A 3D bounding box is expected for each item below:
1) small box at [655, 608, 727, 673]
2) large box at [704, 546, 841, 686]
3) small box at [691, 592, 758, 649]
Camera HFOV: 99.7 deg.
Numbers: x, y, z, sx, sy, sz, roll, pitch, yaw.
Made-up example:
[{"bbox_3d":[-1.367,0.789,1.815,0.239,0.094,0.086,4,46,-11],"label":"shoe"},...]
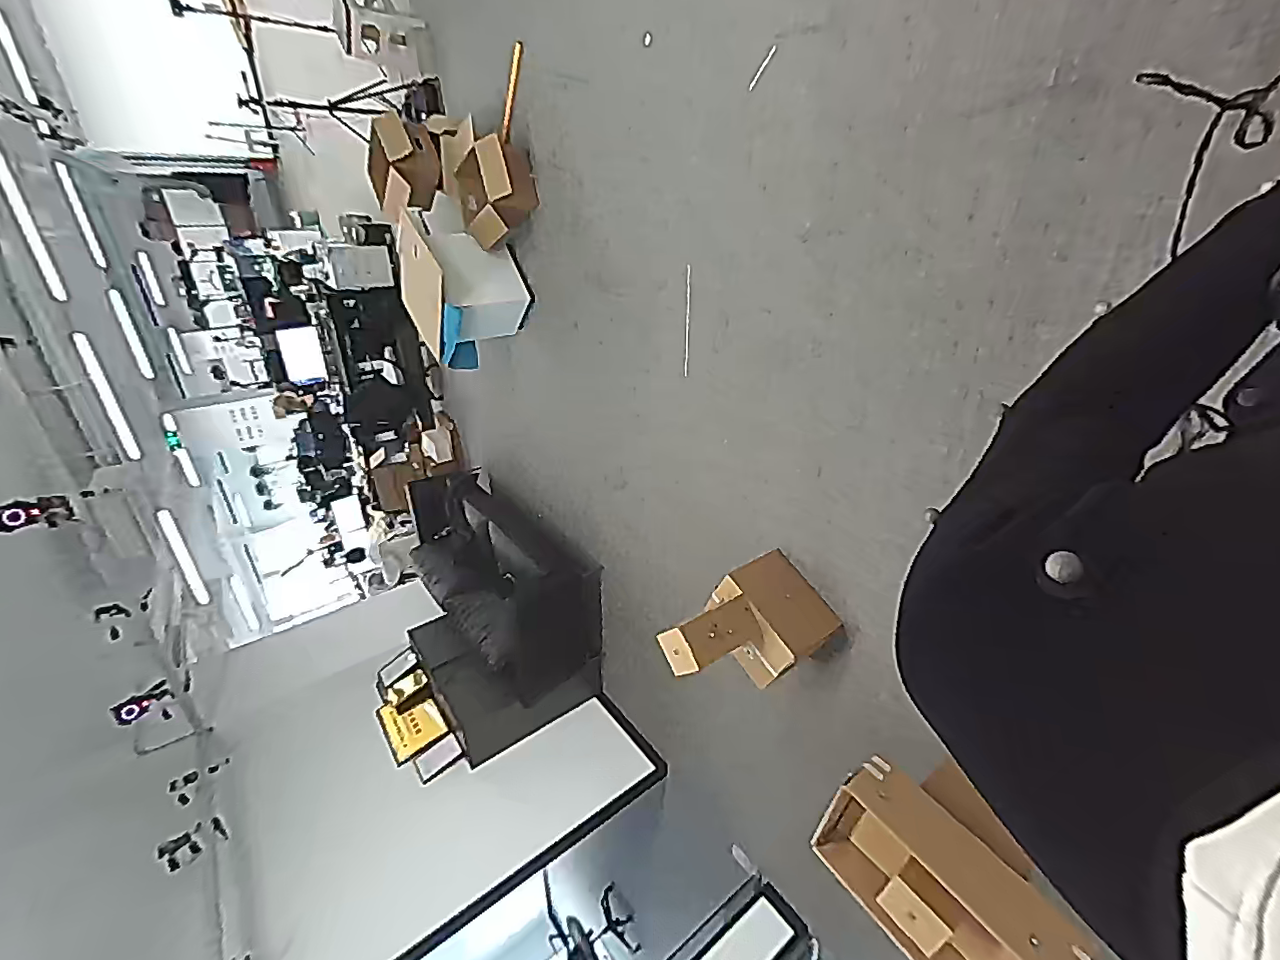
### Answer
[{"bbox_3d":[0.191,0.597,2.015,0.168,0.176,0.179,63,144,11],"label":"small box"},{"bbox_3d":[0.534,0.555,2.249,0.408,0.320,0.320,50,142,27],"label":"large box"},{"bbox_3d":[0.323,0.554,2.106,0.168,0.176,0.179,63,146,11],"label":"small box"}]
